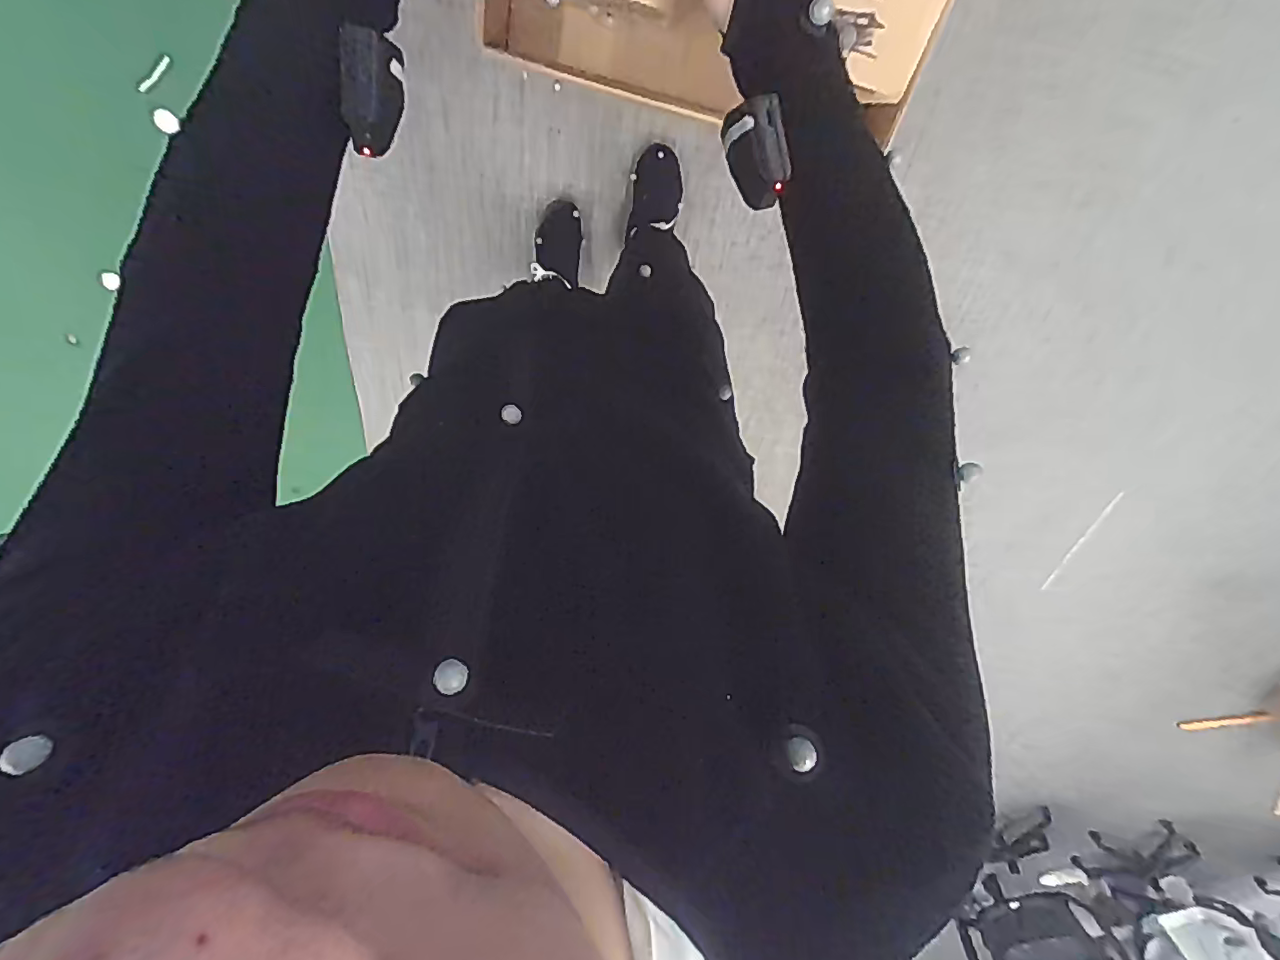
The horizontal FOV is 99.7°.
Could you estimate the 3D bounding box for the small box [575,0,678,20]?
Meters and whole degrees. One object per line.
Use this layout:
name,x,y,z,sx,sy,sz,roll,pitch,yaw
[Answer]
small box,-0.037,-0.495,0.423,0.168,0.176,0.179,8,127,-9

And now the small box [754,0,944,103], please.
small box,0.241,-0.561,0.621,0.168,0.176,0.179,15,124,-7
